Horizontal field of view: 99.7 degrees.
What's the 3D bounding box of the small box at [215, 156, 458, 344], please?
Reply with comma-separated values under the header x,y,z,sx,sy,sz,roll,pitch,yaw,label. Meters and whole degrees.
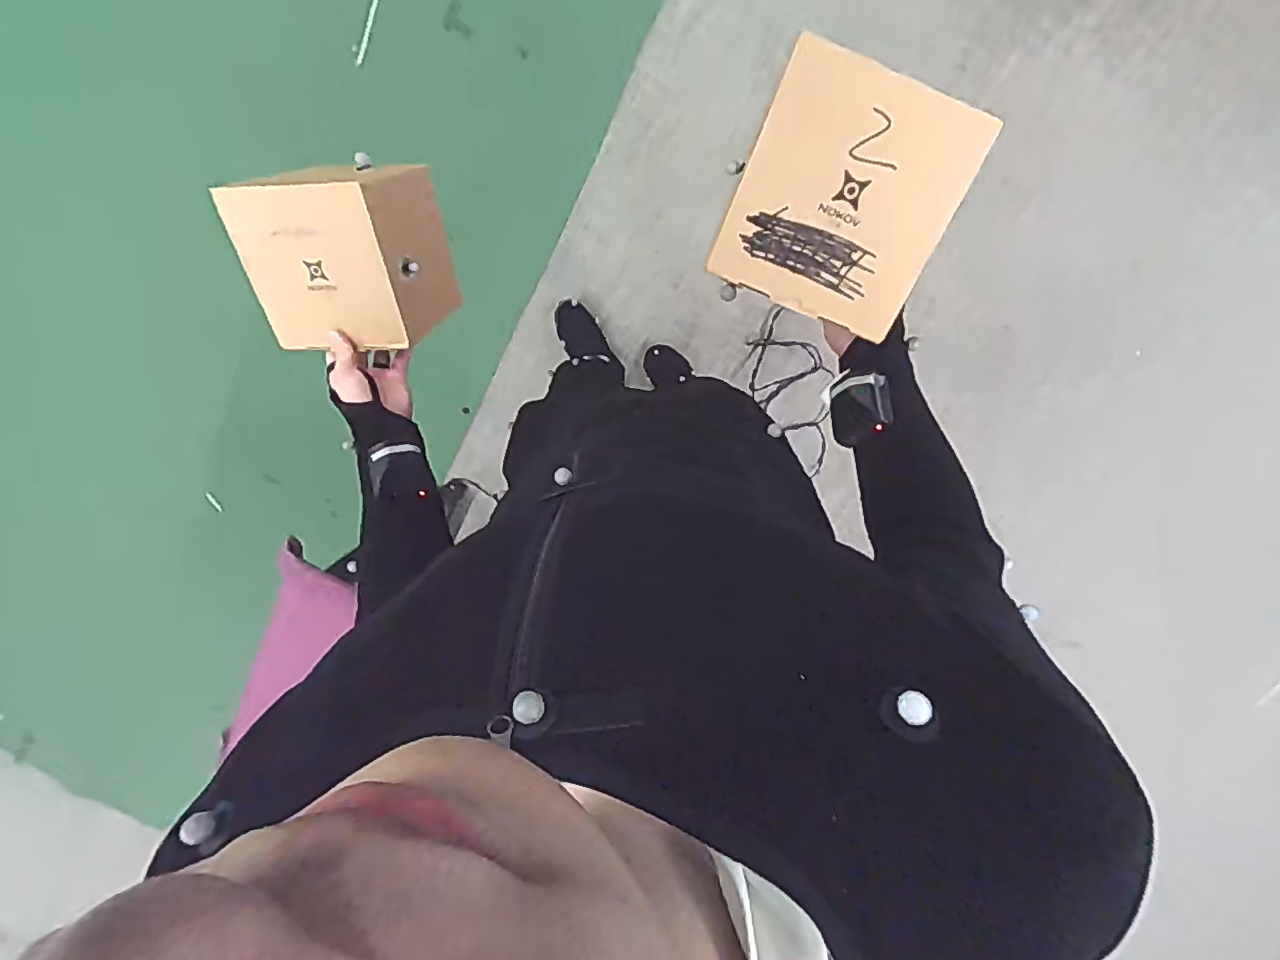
x,y,z,sx,sy,sz,roll,pitch,yaw,label
-0.339,-0.280,0.652,0.168,0.176,0.179,2,126,5,small box
